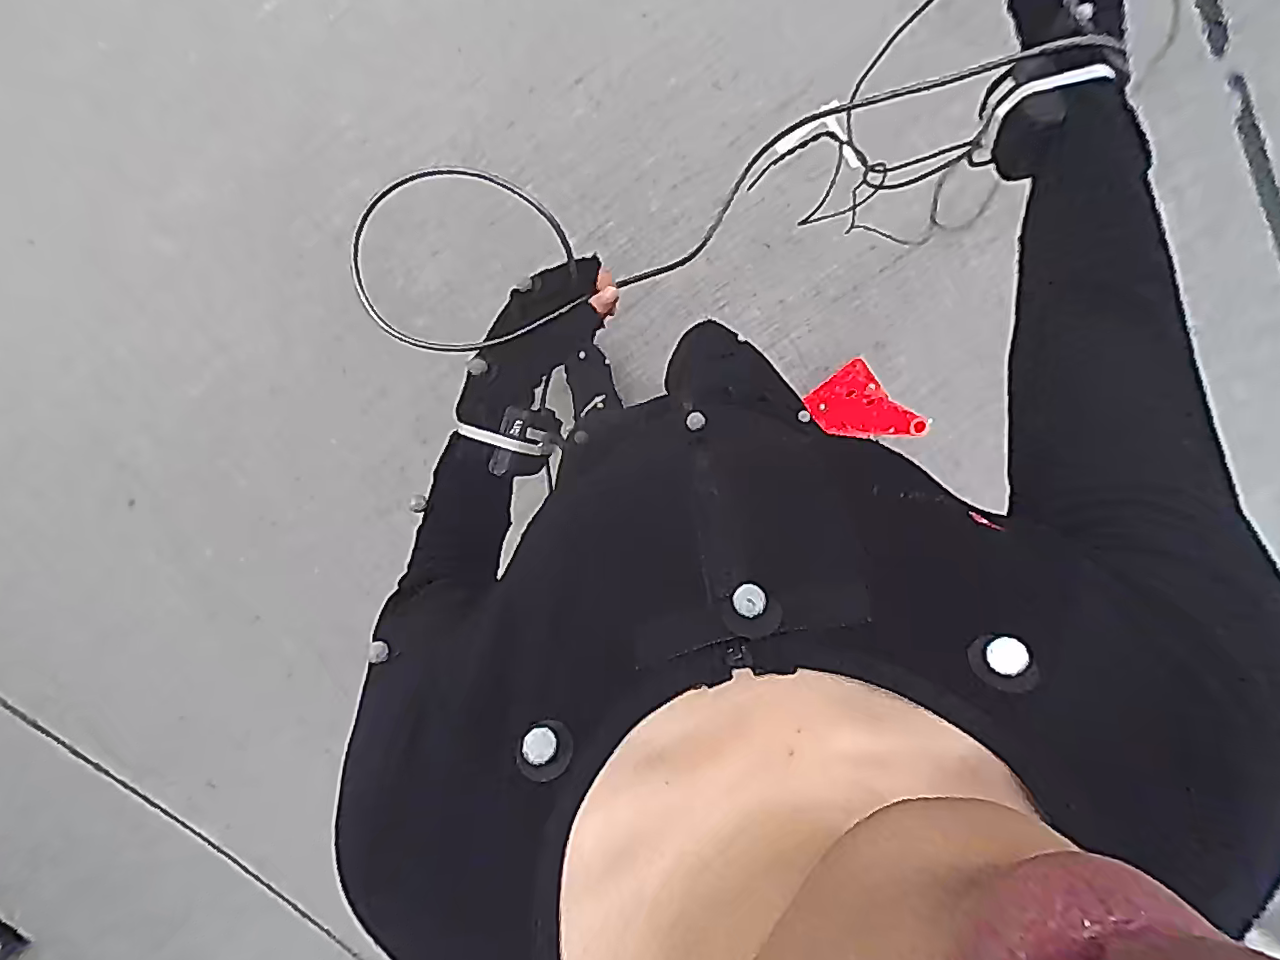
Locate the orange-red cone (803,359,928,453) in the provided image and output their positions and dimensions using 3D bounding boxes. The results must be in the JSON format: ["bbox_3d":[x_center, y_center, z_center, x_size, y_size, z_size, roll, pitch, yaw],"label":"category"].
[{"bbox_3d":[0.563,-0.149,1.268,0.198,0.360,0.199,-38,104,8],"label":"orange-red cone"}]
